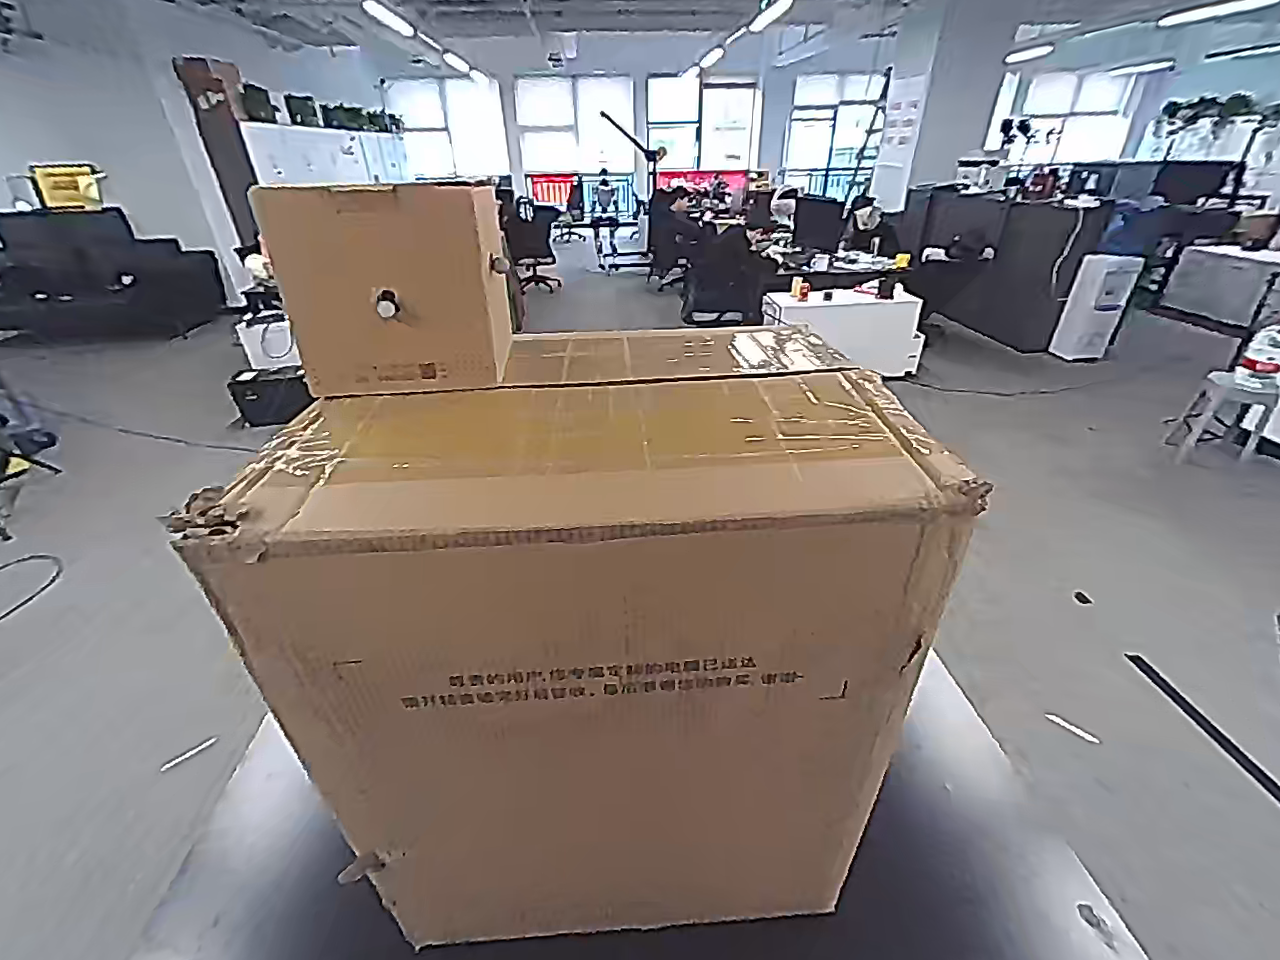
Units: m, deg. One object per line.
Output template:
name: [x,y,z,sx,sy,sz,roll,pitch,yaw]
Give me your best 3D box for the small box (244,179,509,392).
small box: [-0.223,-0.187,0.518,0.168,0.176,0.179,-5,30,-7]
